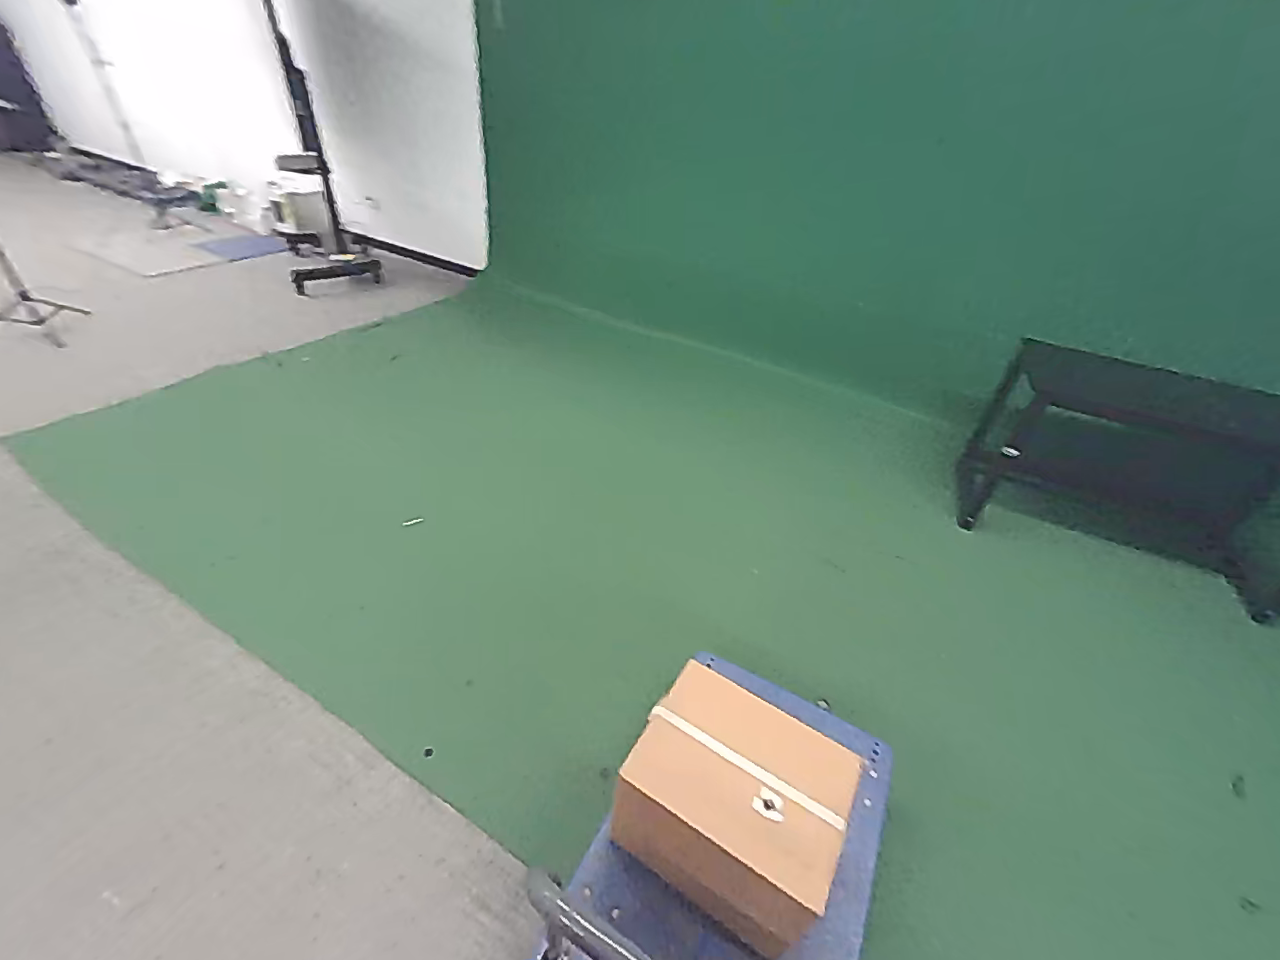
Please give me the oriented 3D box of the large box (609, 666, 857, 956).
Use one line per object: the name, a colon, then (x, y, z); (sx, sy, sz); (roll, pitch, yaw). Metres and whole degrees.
large box: (0.189, 0.694, 1.172); (0.408, 0.320, 0.320); (25, 40, 21)
